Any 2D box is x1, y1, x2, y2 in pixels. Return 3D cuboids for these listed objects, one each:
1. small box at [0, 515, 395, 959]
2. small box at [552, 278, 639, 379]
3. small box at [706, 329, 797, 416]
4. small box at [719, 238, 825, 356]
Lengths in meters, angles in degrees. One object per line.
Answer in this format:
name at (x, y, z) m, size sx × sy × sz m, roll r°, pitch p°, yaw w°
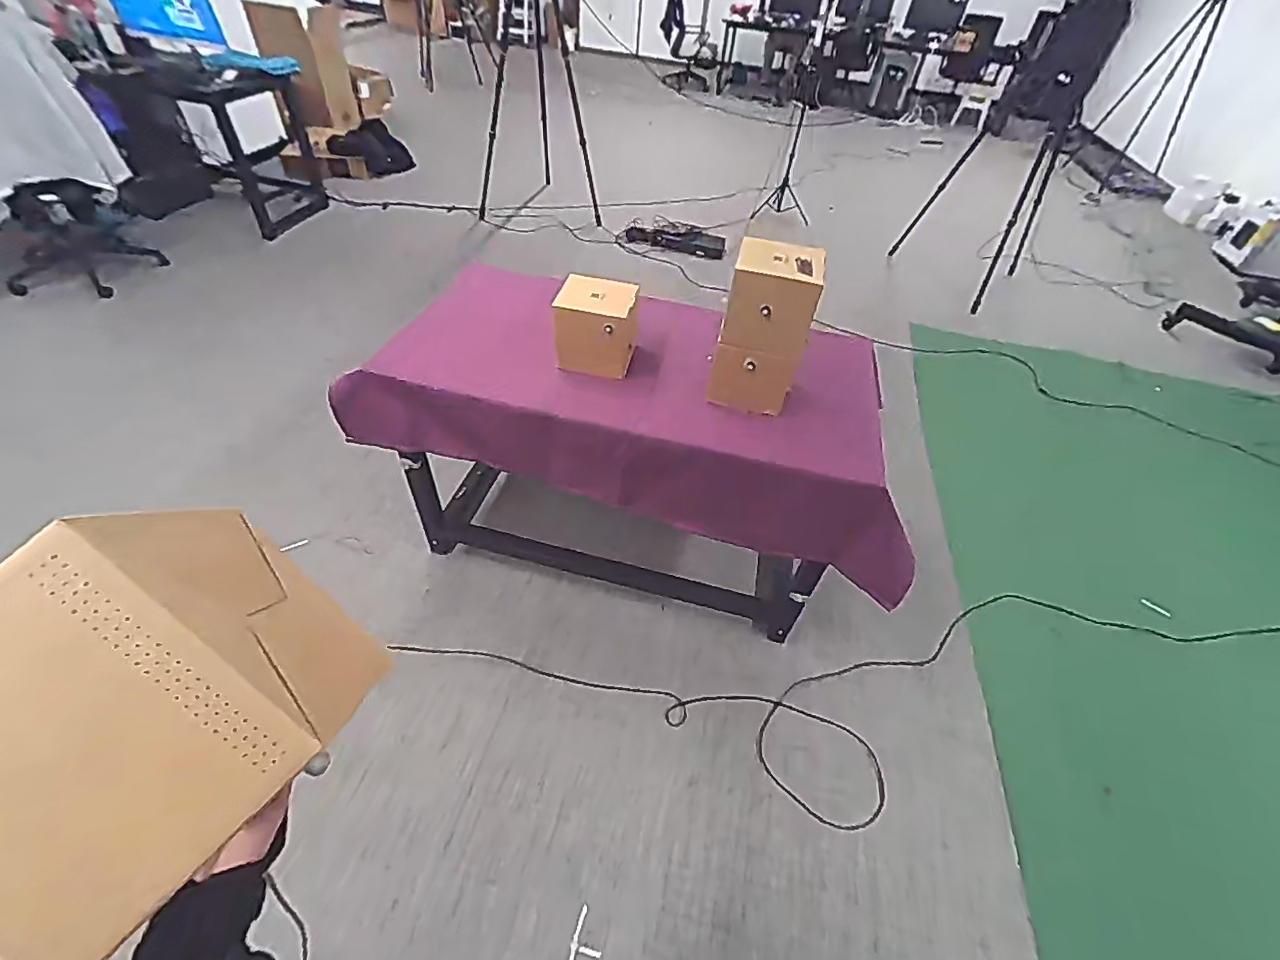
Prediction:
small box at (-0.299, 0.139, 0.350) m, size 0.176 × 0.168 × 0.179 m, roll -45°, pitch 98°, yaw -8°
small box at (-0.107, -0.367, 1.320) m, size 0.179 × 0.176 × 0.168 m, roll 11°, pitch 46°, yaw 3°
small box at (0.261, -0.273, 1.268) m, size 0.179 × 0.176 × 0.168 m, roll 14°, pitch 47°, yaw 6°
small box at (0.278, -0.384, 1.149) m, size 0.179 × 0.176 × 0.168 m, roll 13°, pitch 47°, yaw 7°
